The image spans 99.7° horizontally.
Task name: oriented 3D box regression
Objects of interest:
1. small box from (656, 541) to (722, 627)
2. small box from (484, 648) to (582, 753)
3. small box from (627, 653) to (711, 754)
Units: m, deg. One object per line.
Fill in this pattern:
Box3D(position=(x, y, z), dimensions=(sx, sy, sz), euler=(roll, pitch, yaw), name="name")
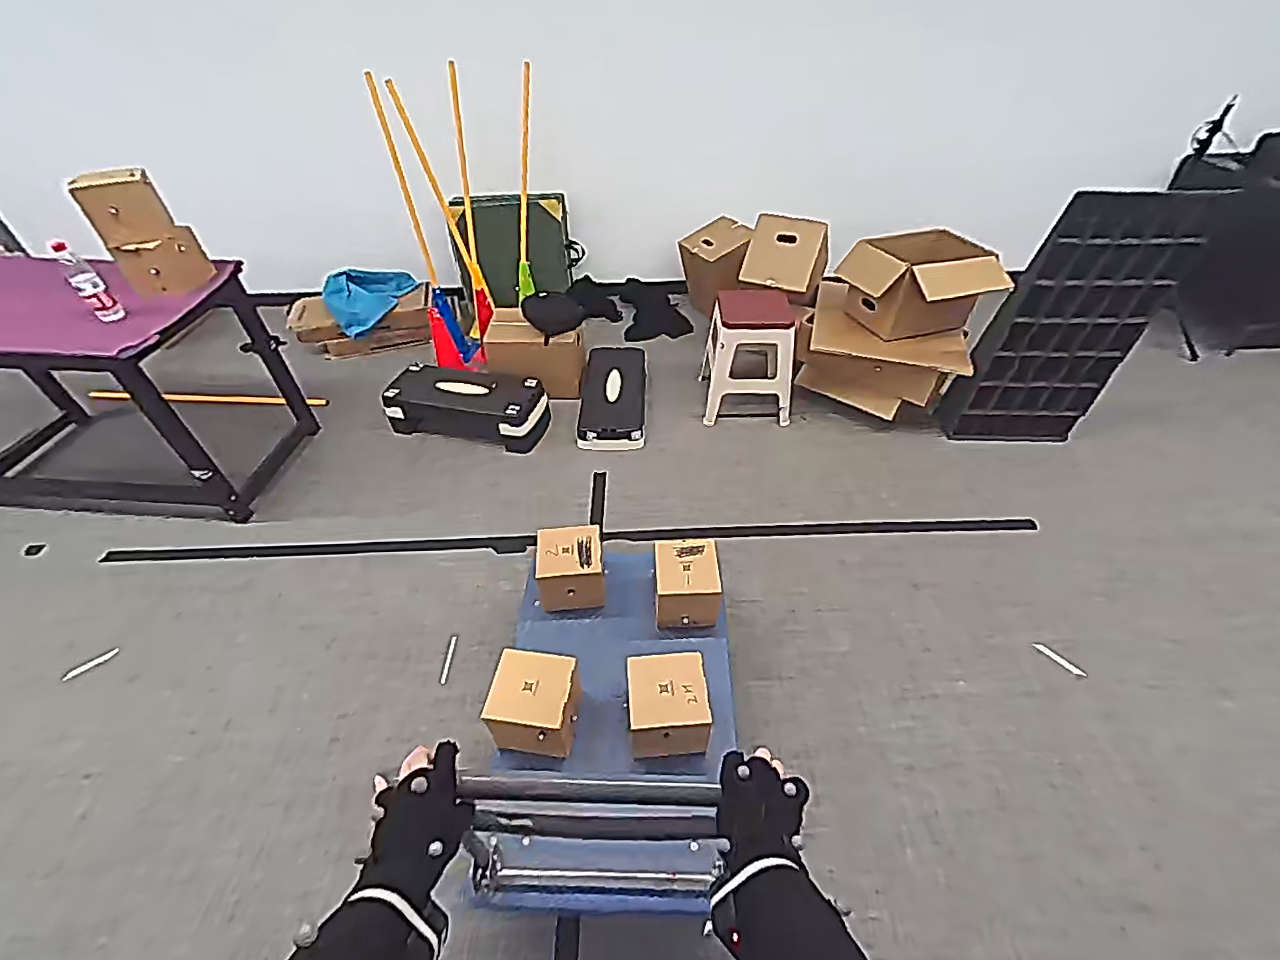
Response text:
Box3D(position=(0.129, 0.287, 1.492), dimensions=(0.168, 0.176, 0.179), euler=(-1, 46, 0), name="small box")
Box3D(position=(-0.240, 0.517, 1.264), dimensions=(0.179, 0.176, 0.168), euler=(6, 45, 5), name="small box")
Box3D(position=(0.064, 0.522, 1.255), dimensions=(0.179, 0.176, 0.168), euler=(-3, 45, -2), name="small box")
